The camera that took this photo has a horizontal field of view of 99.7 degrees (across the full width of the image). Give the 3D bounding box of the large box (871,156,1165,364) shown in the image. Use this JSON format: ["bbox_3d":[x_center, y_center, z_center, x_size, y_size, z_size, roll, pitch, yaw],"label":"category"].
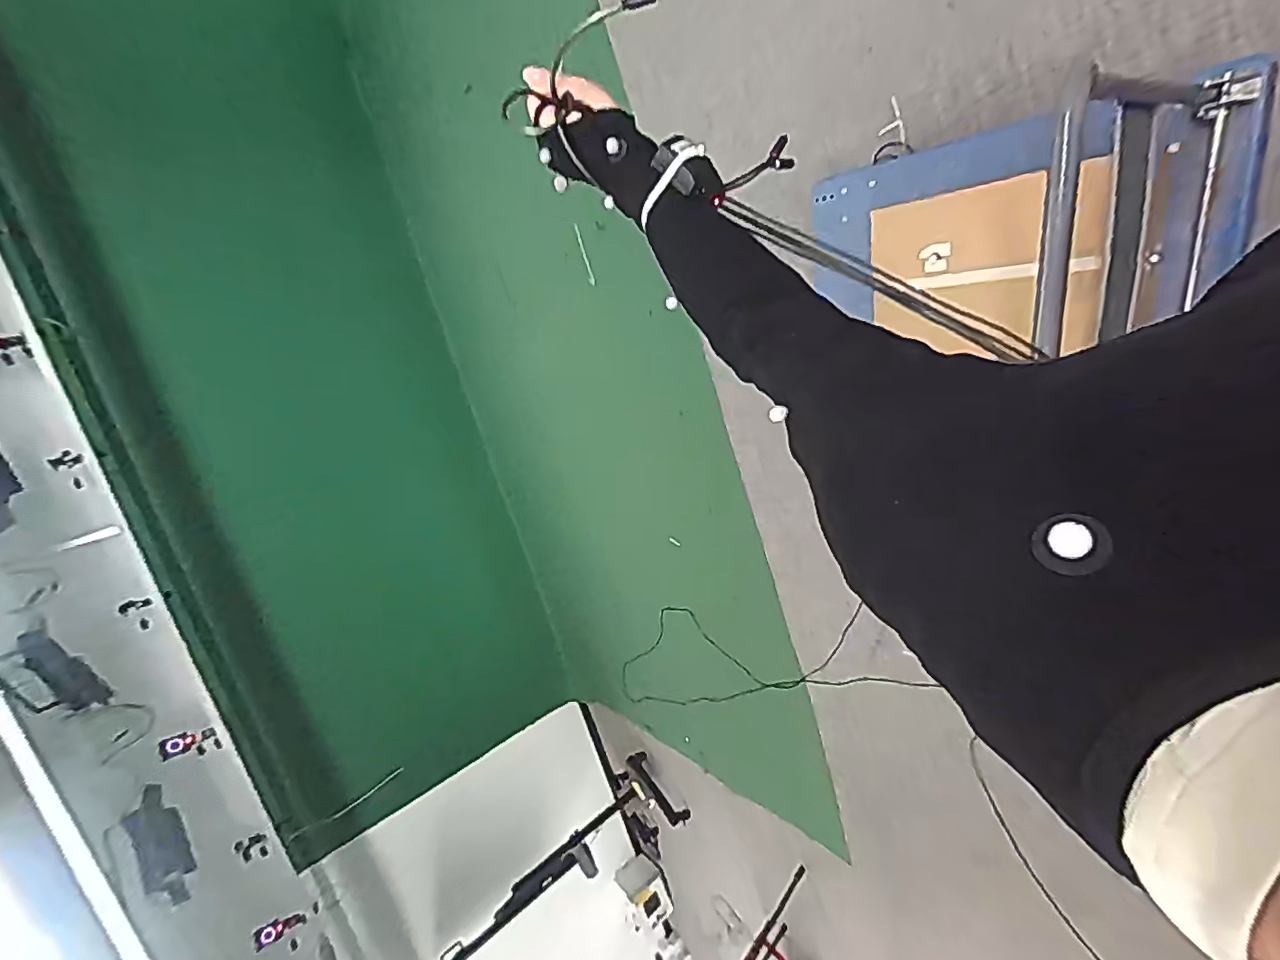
[{"bbox_3d":[0.748,-0.426,1.102,0.408,0.320,0.320,16,122,52],"label":"large box"}]
